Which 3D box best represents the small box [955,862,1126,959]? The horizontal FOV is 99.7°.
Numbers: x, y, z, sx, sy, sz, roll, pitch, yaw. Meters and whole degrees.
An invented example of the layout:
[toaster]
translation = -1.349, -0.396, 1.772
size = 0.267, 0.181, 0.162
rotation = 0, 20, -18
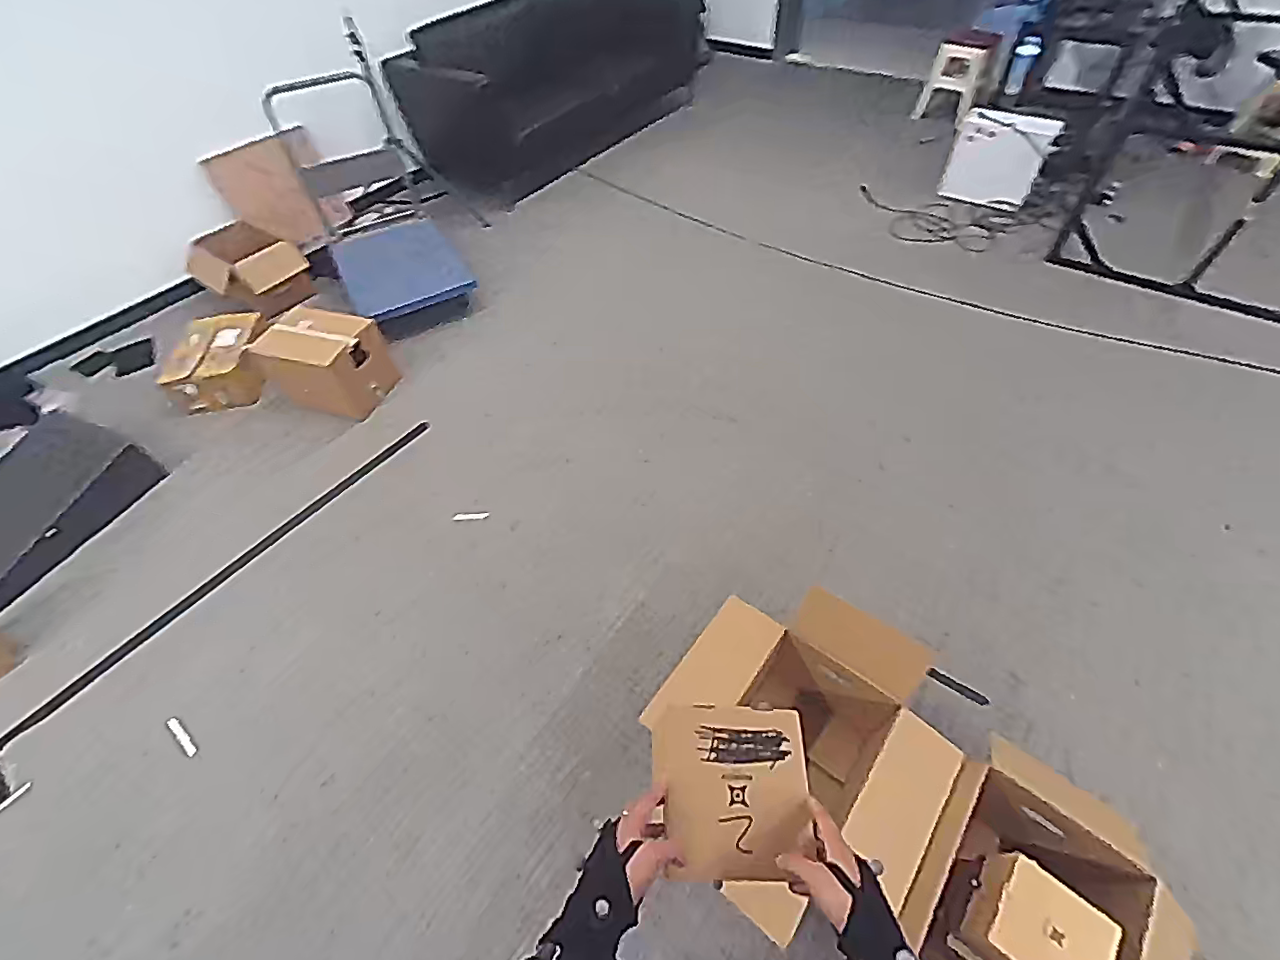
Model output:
[small box]
translation = 0.729, 0.845, 1.000
size = 0.179, 0.176, 0.168
rotation = 32, 63, 25
